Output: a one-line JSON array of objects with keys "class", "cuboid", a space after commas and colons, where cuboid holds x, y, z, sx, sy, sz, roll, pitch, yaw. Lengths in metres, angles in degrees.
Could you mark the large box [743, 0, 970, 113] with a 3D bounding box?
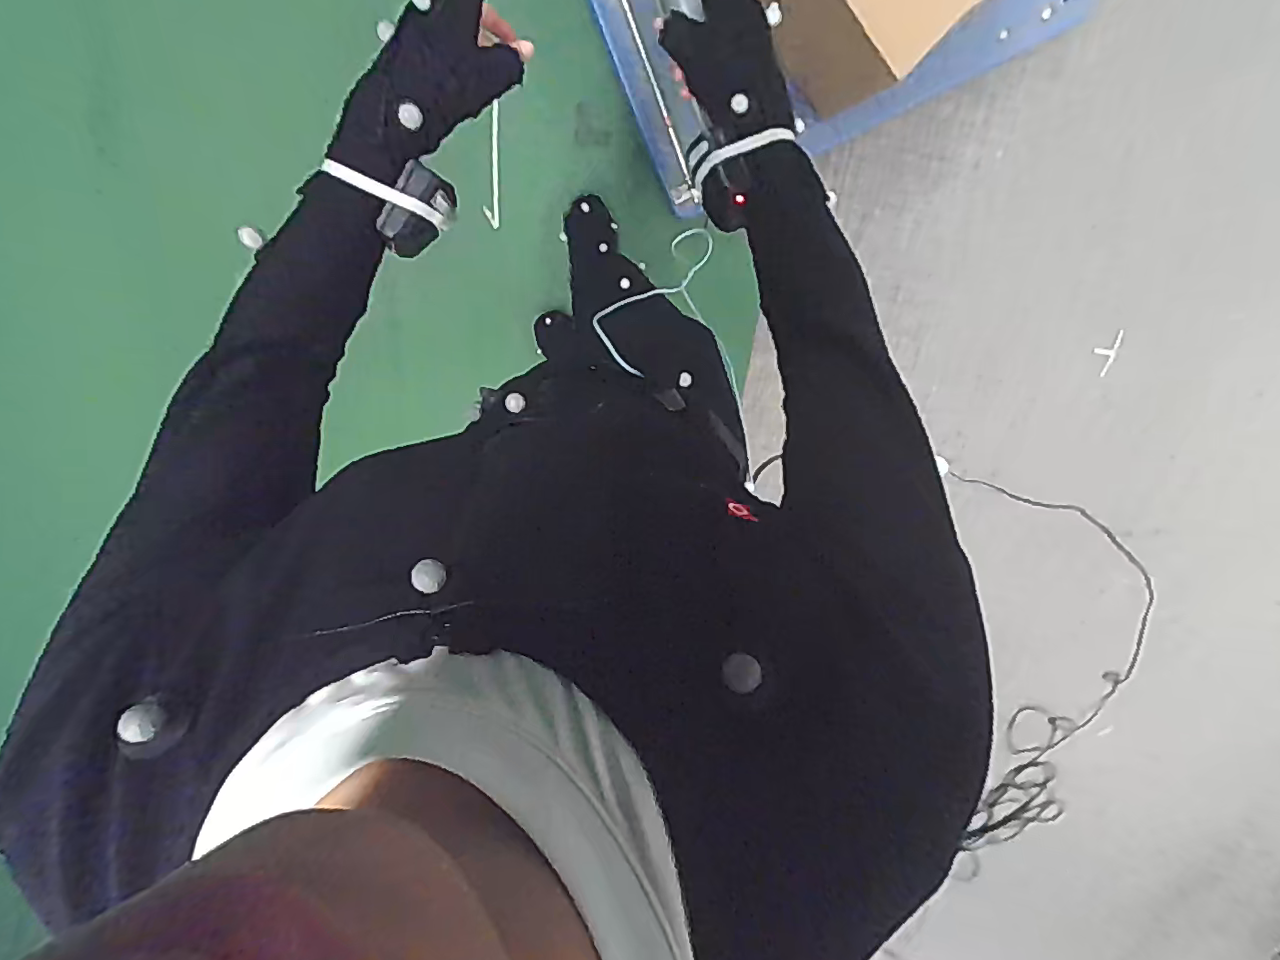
[{"class": "large box", "cuboid": [0.333, -0.868, 0.815, 0.408, 0.320, 0.320, 41, 107, -17]}]
